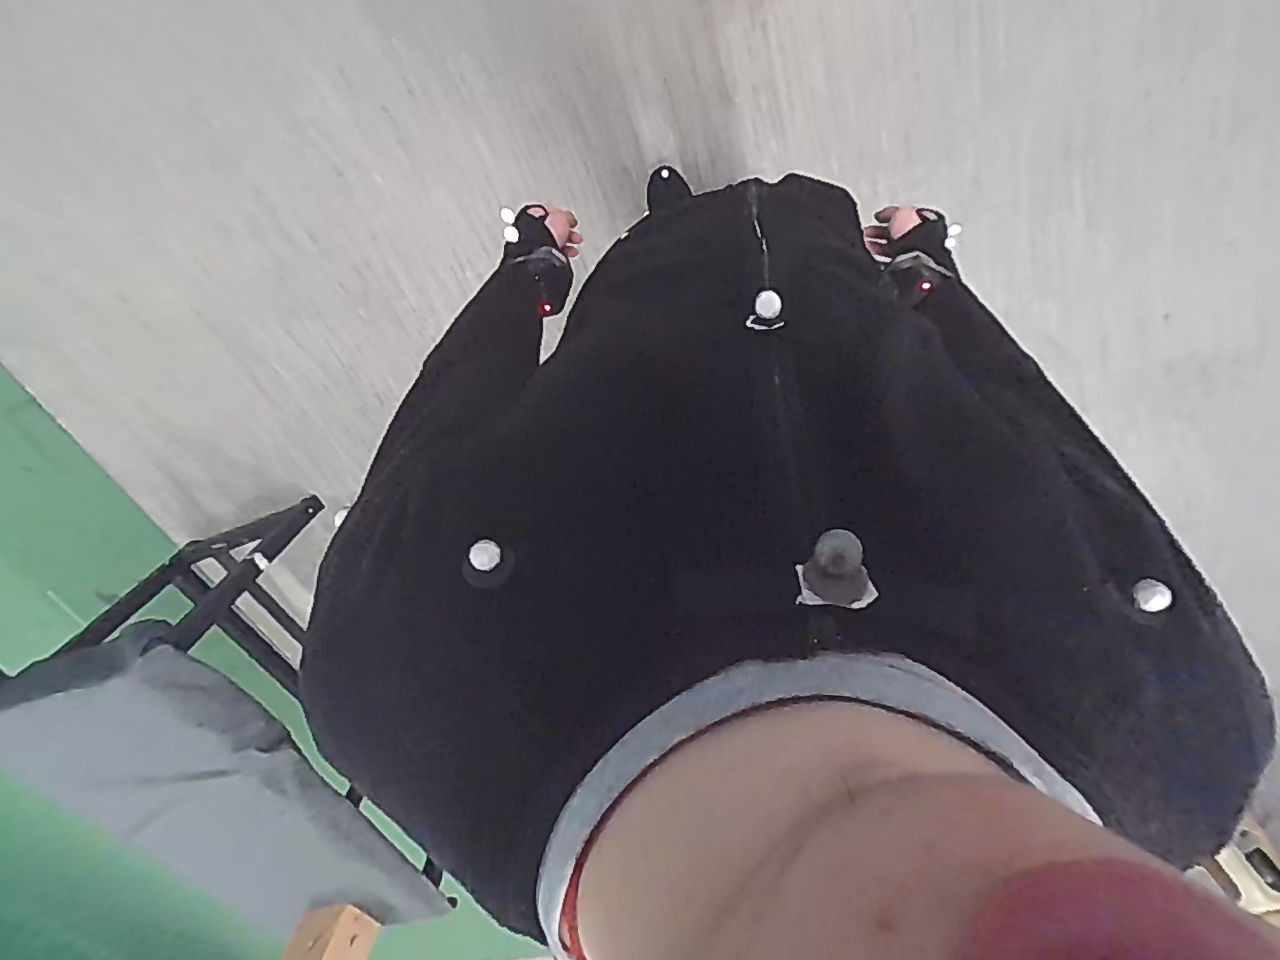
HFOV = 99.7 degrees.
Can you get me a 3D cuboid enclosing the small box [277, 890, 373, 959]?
[{"bbox_3d":[-0.963,1.407,1.678,0.179,0.176,0.168,-21,117,14],"label":"small box"}]
